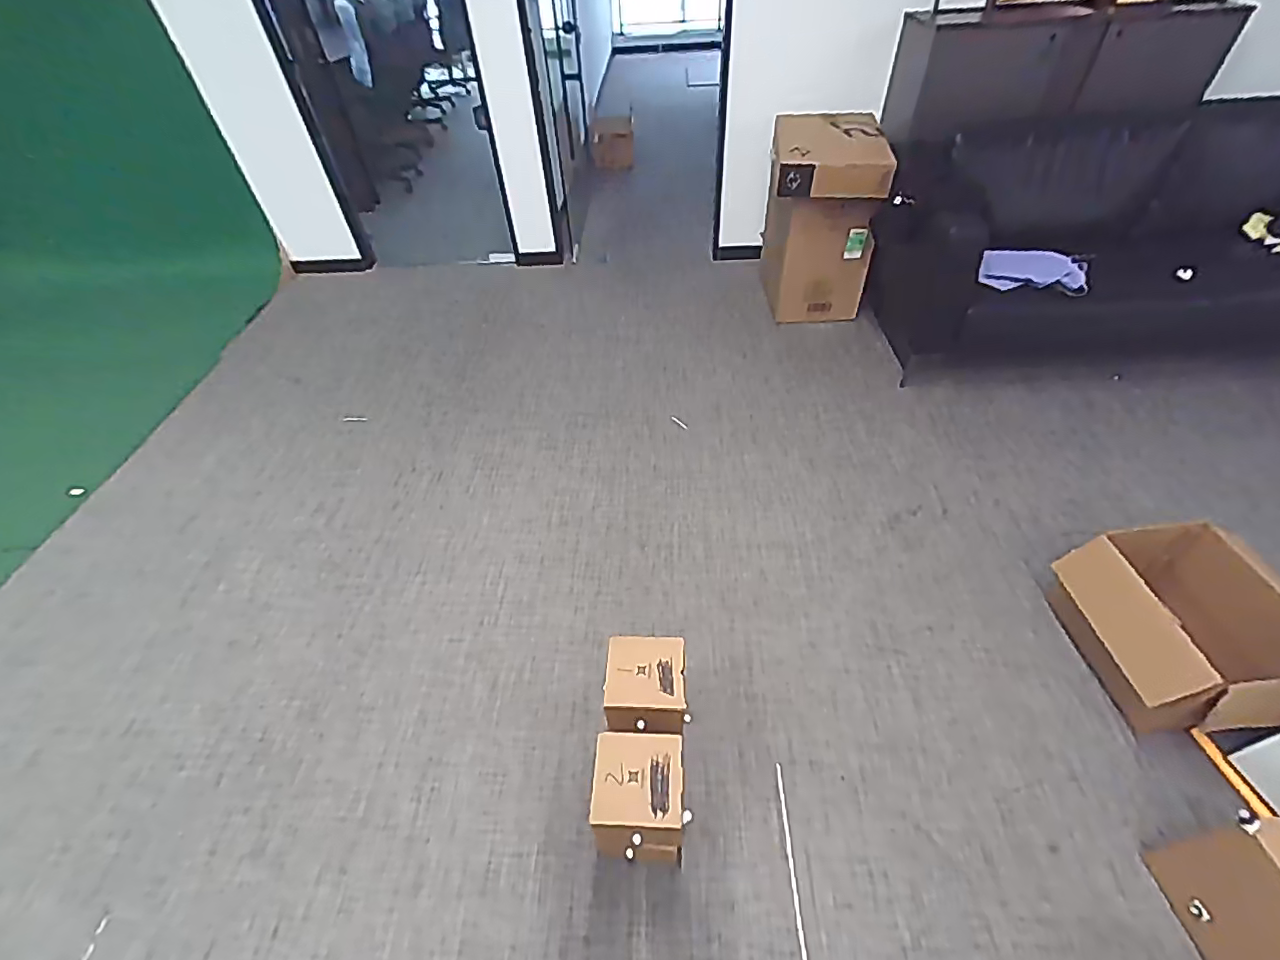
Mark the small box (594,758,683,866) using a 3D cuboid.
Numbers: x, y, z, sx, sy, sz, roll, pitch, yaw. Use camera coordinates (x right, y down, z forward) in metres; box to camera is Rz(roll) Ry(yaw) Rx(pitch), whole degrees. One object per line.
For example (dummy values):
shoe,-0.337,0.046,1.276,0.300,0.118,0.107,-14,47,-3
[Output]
small box,0.004,0.750,1.218,0.179,0.176,0.168,4,47,7
